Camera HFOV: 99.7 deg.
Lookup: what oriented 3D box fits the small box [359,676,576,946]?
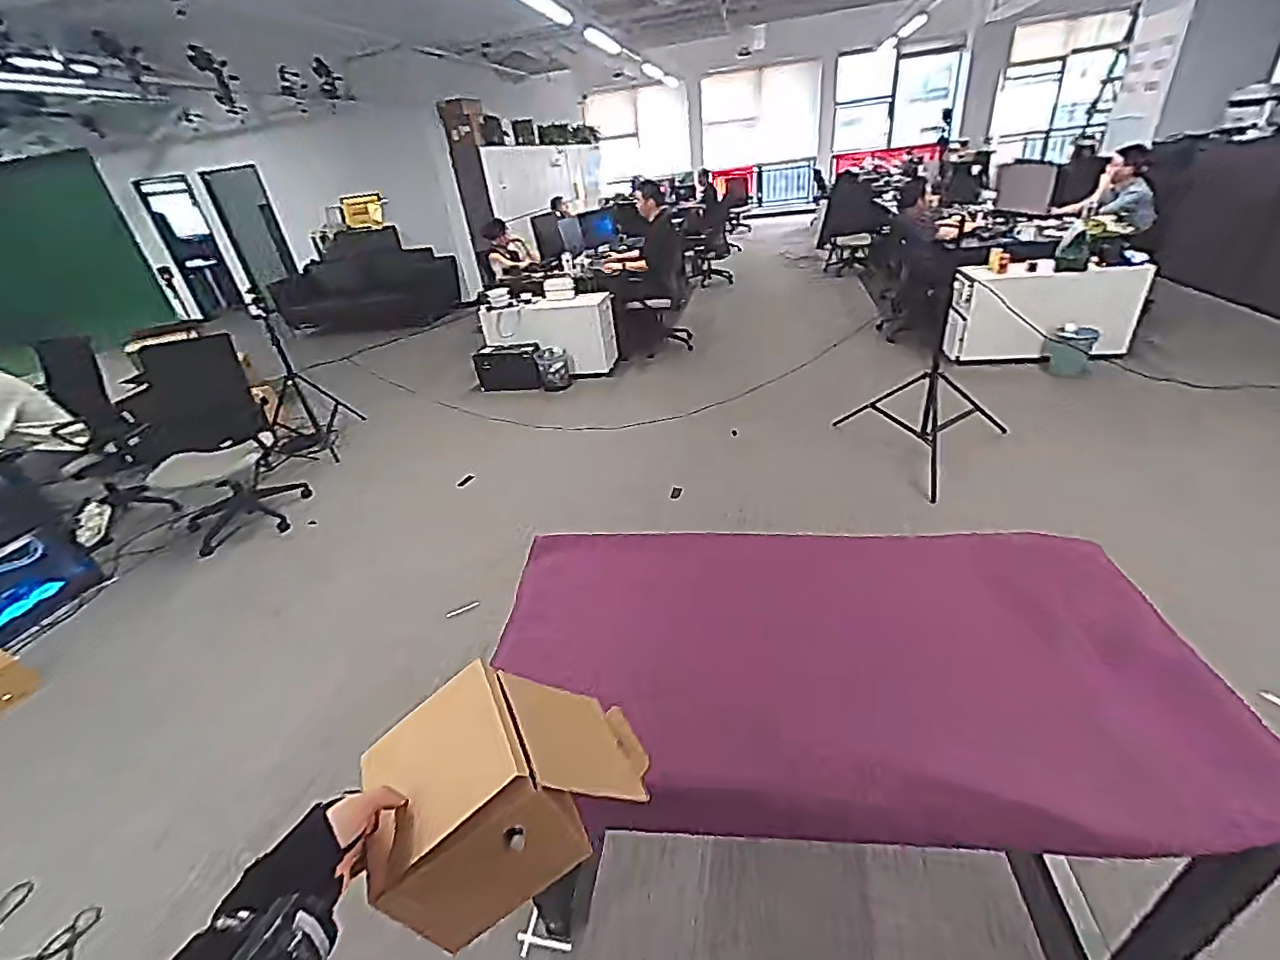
[{"bbox_3d":[-0.189,0.371,0.617,0.179,0.176,0.168,-29,35,-14],"label":"small box"}]
